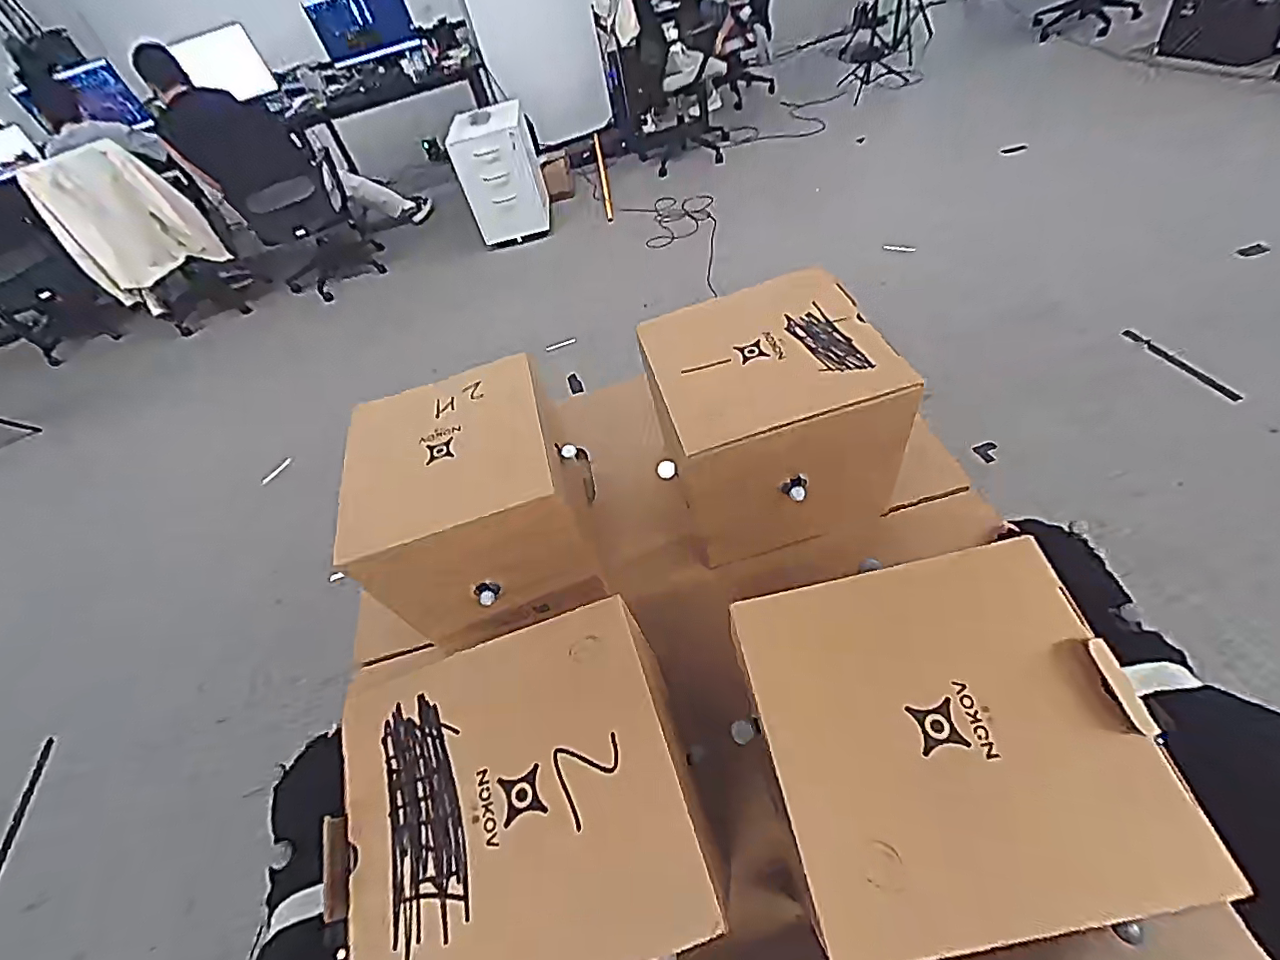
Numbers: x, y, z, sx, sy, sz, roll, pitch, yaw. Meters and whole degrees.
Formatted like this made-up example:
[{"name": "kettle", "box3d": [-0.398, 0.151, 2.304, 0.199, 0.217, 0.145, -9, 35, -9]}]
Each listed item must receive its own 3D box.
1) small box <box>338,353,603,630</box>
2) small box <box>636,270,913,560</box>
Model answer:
[{"name": "small box", "box3d": [-0.142, 0.020, 0.500, 0.168, 0.176, 0.179, -17, 50, 0]}, {"name": "small box", "box3d": [0.110, -0.052, 0.492, 0.179, 0.176, 0.168, -17, 51, 2]}]
